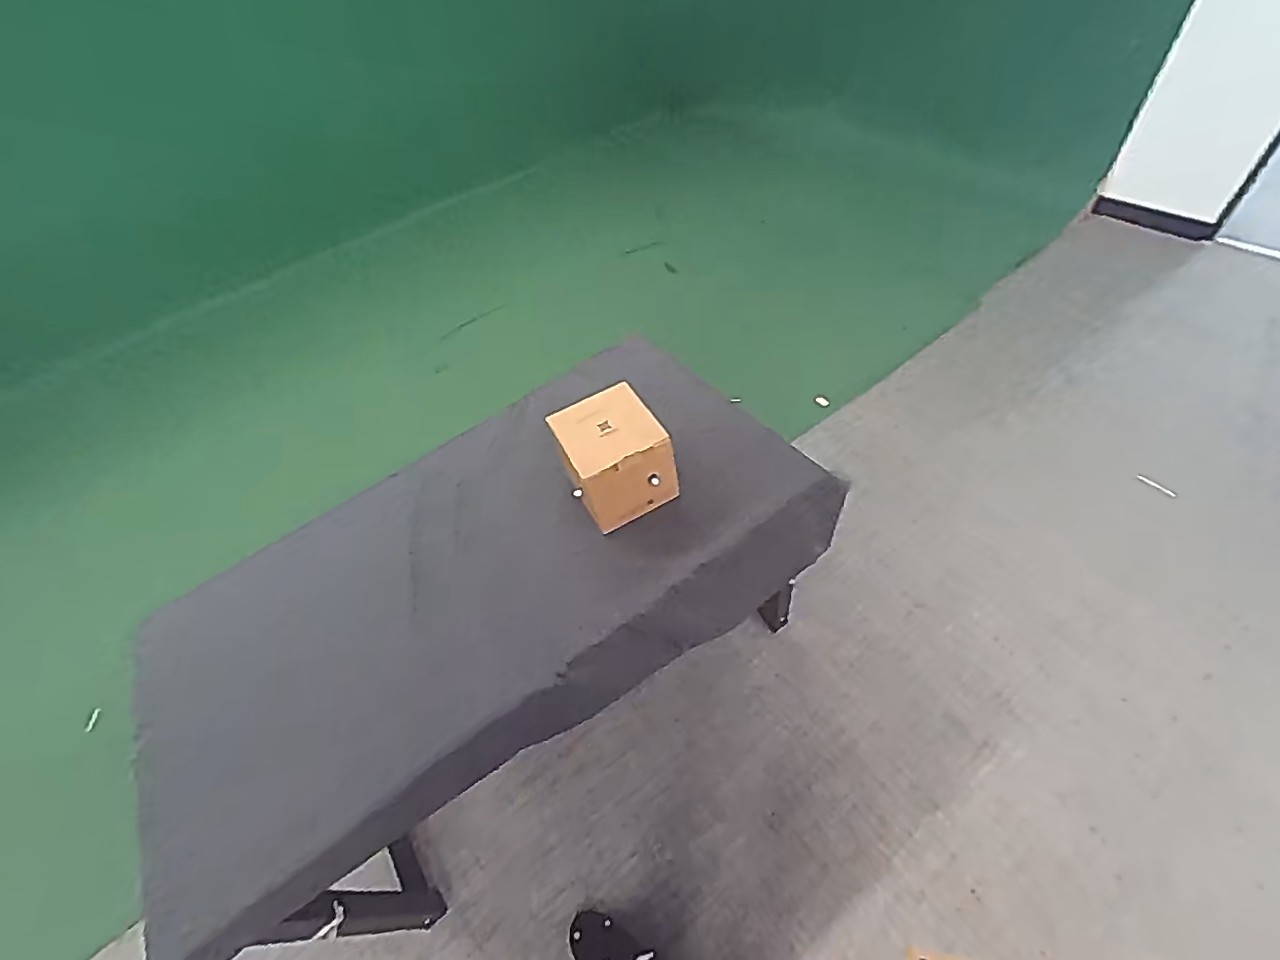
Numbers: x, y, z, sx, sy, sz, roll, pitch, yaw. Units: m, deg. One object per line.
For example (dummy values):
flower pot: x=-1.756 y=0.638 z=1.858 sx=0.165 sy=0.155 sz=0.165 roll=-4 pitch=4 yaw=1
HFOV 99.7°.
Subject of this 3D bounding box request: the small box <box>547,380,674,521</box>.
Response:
small box: x=-0.048 y=-0.046 z=0.999 sx=0.168 sy=0.176 sz=0.179 roll=-25 pitch=51 yaw=-12
